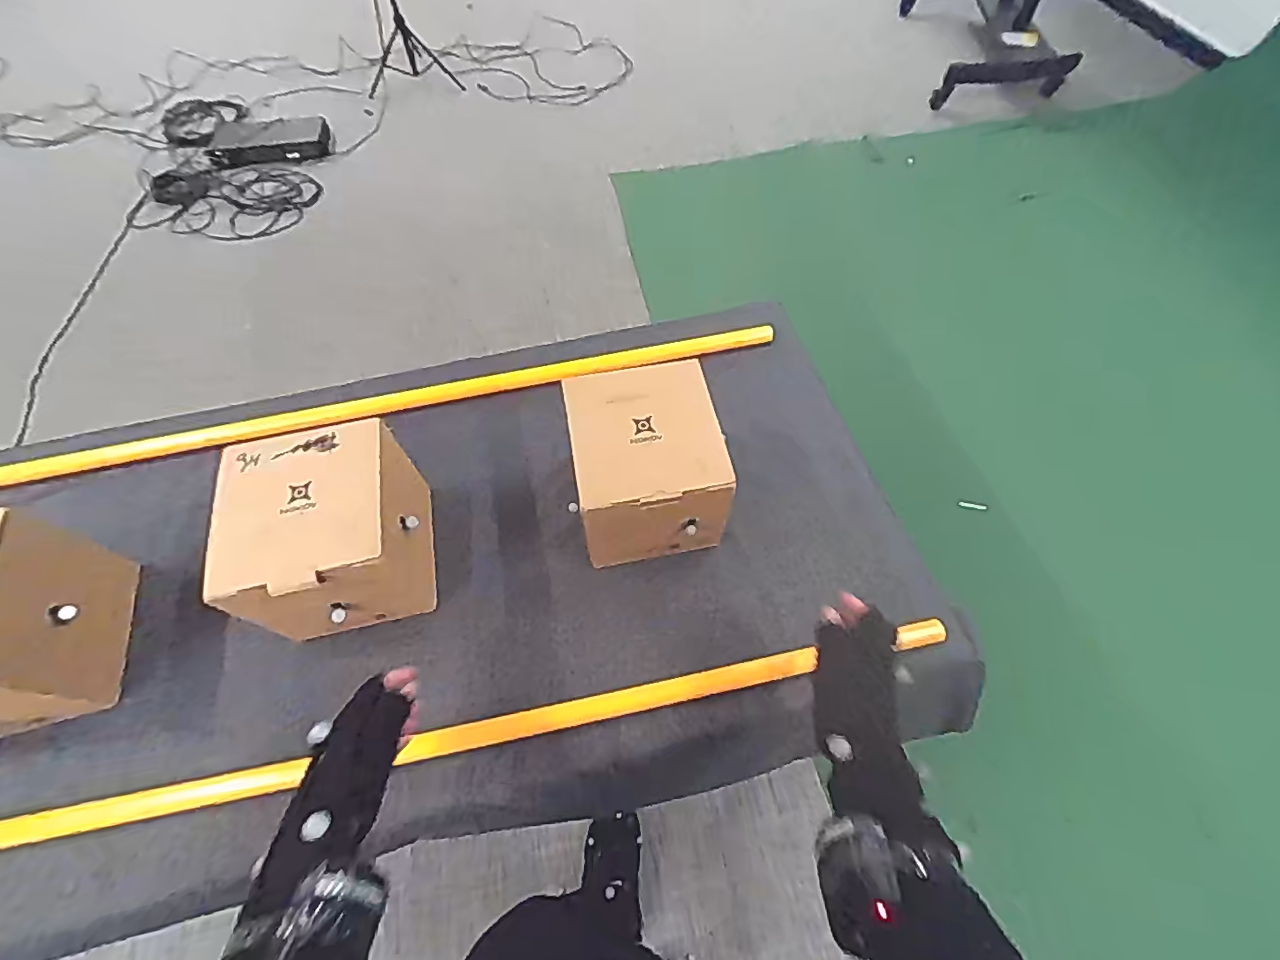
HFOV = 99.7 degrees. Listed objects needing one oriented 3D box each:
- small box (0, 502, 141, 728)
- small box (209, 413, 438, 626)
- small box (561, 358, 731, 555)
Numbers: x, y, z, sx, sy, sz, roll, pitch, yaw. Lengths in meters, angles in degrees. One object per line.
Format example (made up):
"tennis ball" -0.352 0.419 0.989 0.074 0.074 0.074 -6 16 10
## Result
"small box" -0.683 0.151 0.568 0.168 0.176 0.179 -14 62 -8
"small box" -0.348 0.056 0.625 0.168 0.176 0.179 -15 61 -7
"small box" 0.002 -0.019 0.665 0.168 0.176 0.179 -9 60 -6
